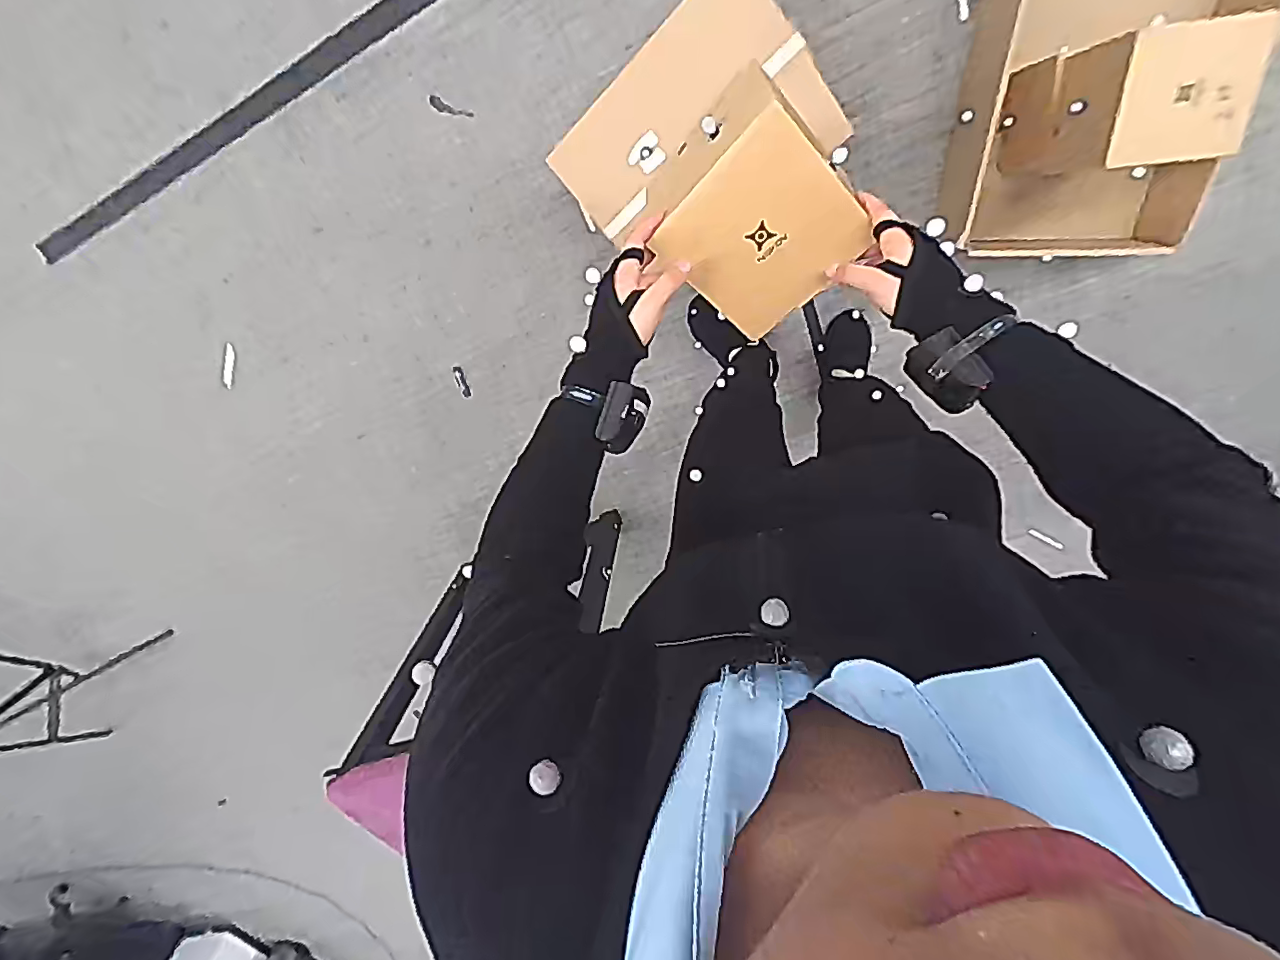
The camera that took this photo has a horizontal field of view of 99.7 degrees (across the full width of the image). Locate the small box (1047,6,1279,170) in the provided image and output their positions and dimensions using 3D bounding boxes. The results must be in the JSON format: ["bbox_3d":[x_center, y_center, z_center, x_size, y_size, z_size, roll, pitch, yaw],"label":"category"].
[{"bbox_3d":[0.760,-0.569,0.809,0.179,0.176,0.168,-3,117,6],"label":"small box"}]

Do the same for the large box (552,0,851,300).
[{"bbox_3d":[0.106,-0.622,1.012,0.408,0.320,0.320,-37,109,24],"label":"large box"}]
